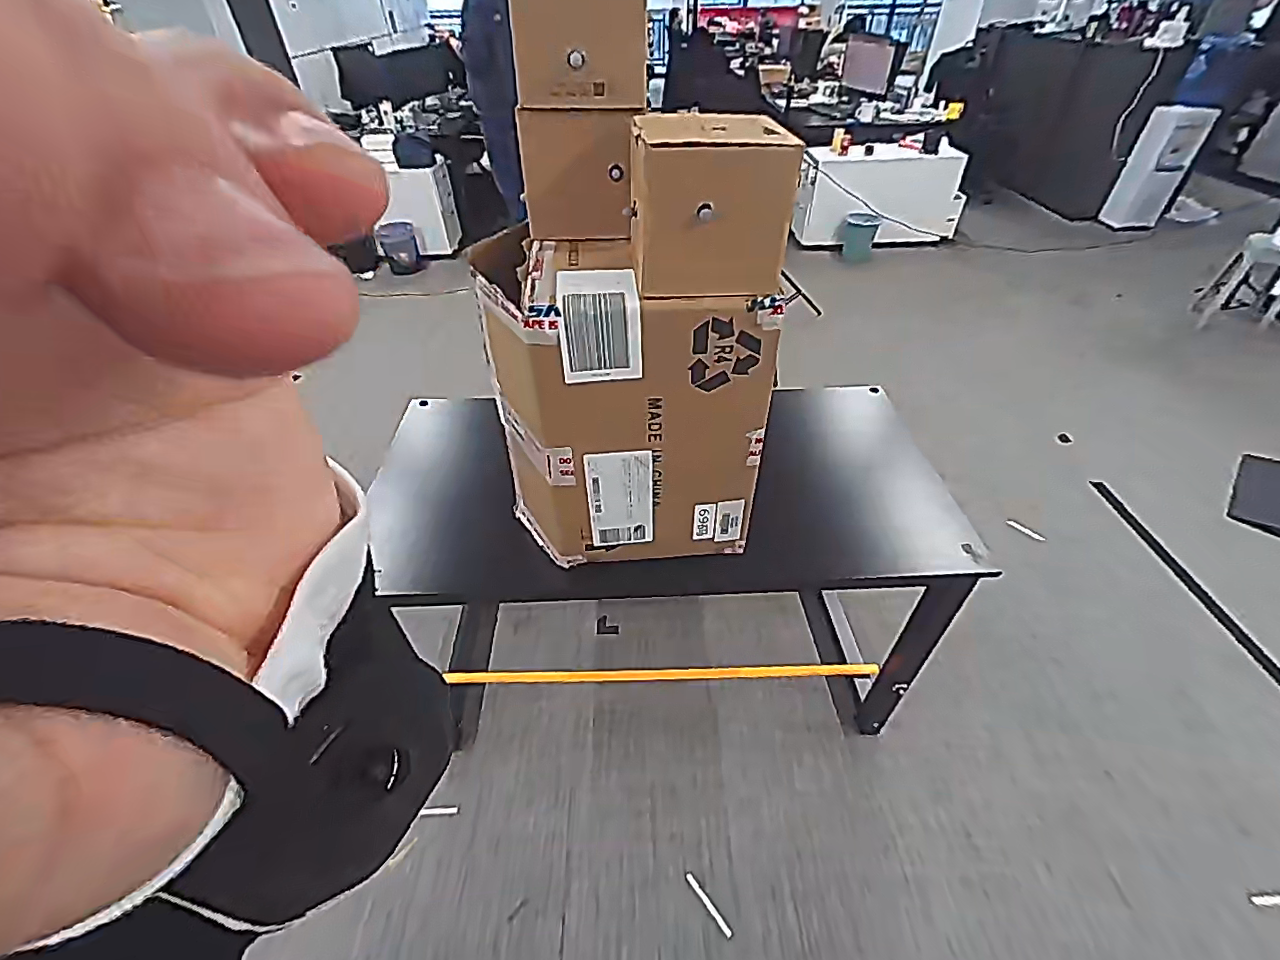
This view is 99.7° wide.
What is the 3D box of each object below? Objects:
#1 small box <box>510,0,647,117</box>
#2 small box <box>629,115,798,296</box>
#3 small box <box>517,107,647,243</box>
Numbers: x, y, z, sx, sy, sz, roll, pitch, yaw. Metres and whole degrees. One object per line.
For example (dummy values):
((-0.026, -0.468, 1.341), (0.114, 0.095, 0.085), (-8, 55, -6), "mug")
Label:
((-0.080, -0.597, 0.721), (0.168, 0.176, 0.179), (-3, 40, -4), "small box")
((0.081, -0.346, 0.687), (0.179, 0.176, 0.168), (-4, 44, -3), "small box")
((-0.084, -0.475, 0.831), (0.179, 0.176, 0.168), (-4, 39, -4), "small box")
